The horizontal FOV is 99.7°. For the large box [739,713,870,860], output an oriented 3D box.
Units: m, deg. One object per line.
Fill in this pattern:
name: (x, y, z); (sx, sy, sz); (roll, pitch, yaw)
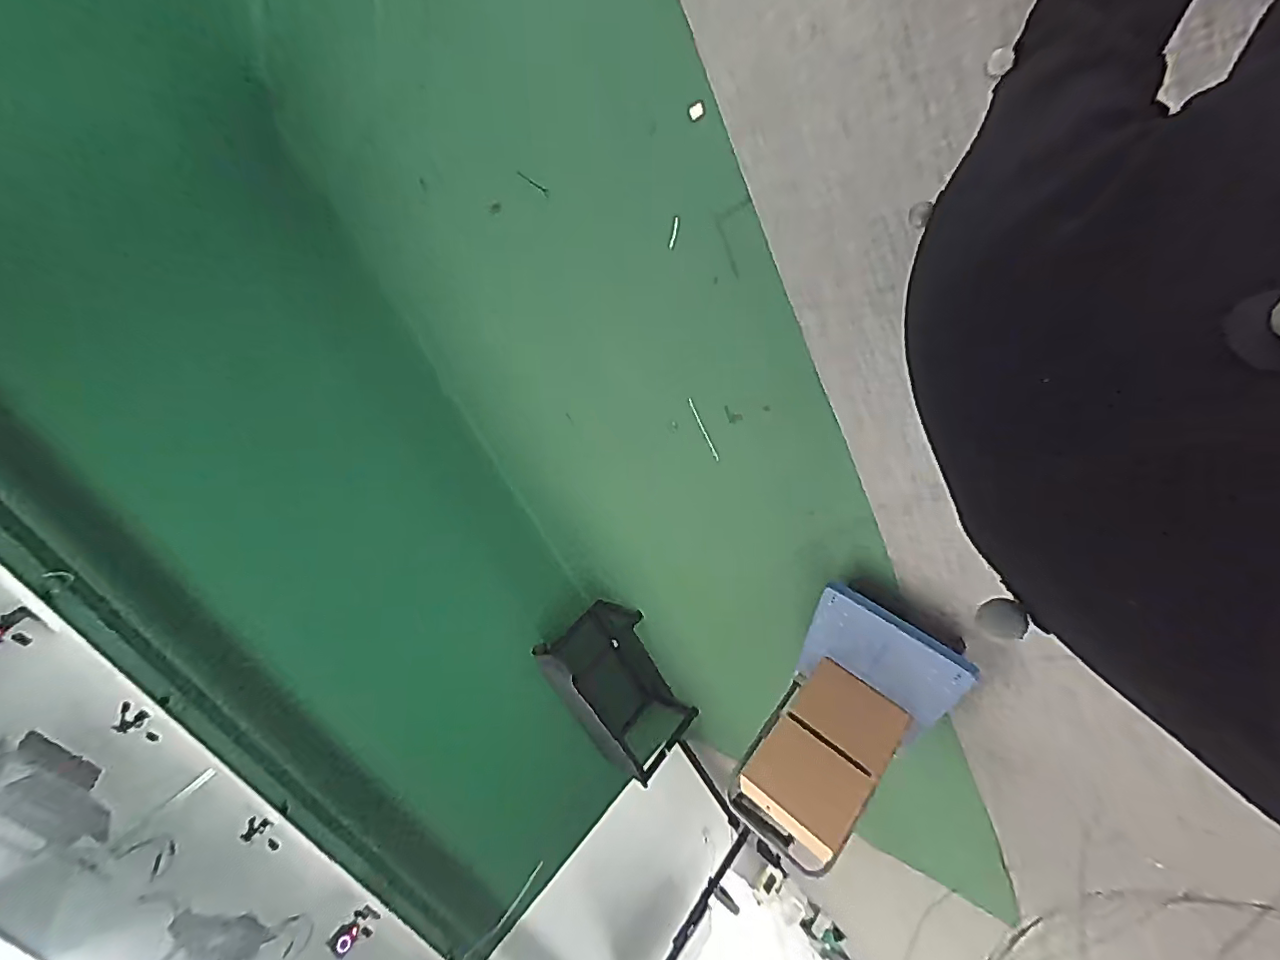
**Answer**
large box: (0.661, 1.243, 2.203); (0.408, 0.320, 0.320); (31, 151, 31)
